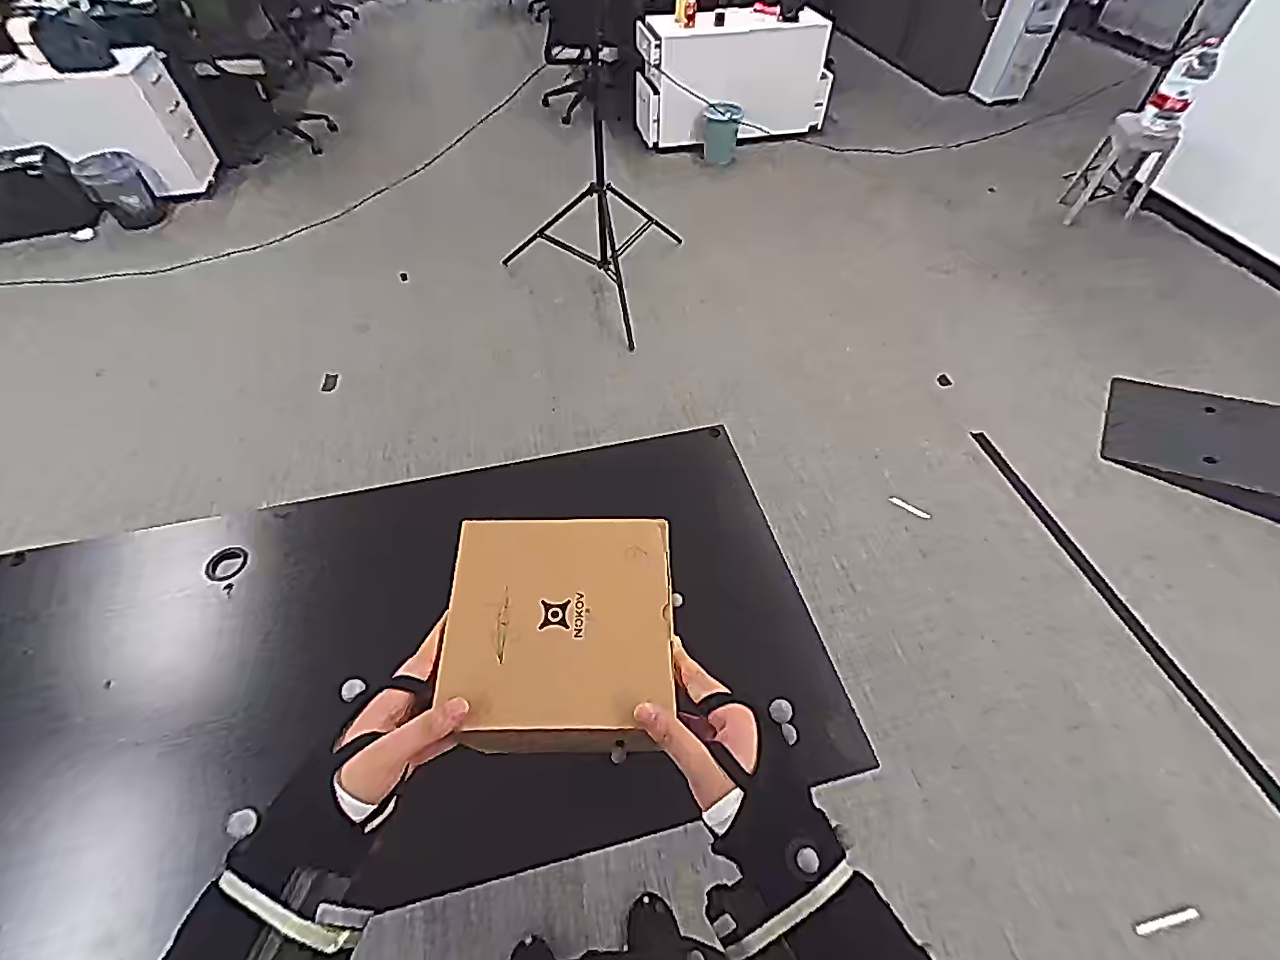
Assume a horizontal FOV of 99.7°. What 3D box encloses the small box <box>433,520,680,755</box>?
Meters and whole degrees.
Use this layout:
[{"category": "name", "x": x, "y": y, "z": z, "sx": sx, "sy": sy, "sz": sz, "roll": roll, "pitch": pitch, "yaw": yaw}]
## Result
[{"category": "small box", "x": -0.061, "y": 0.148, "z": 0.488, "sx": 0.179, "sy": 0.176, "sz": 0.168, "roll": -2, "pitch": 57, "yaw": 0}]
